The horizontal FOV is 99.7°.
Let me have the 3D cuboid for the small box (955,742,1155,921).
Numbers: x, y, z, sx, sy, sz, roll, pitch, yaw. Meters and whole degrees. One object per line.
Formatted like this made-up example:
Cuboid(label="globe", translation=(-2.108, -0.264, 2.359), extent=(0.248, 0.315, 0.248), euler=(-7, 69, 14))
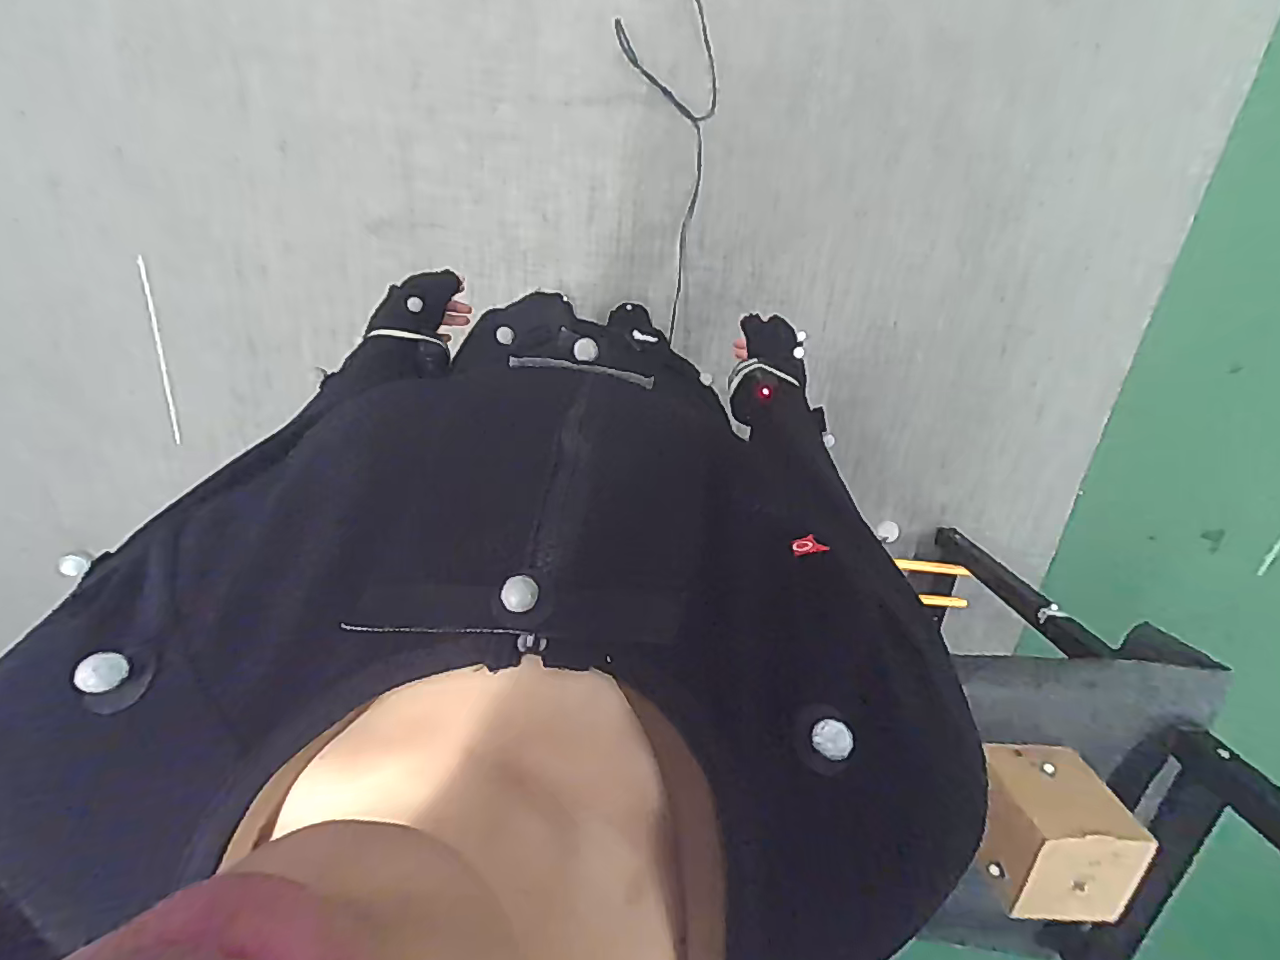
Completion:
Cuboid(label="small box", translation=(0.639, 0.553, 0.861), extent=(0.168, 0.176, 0.179), euler=(3, 110, -2))
